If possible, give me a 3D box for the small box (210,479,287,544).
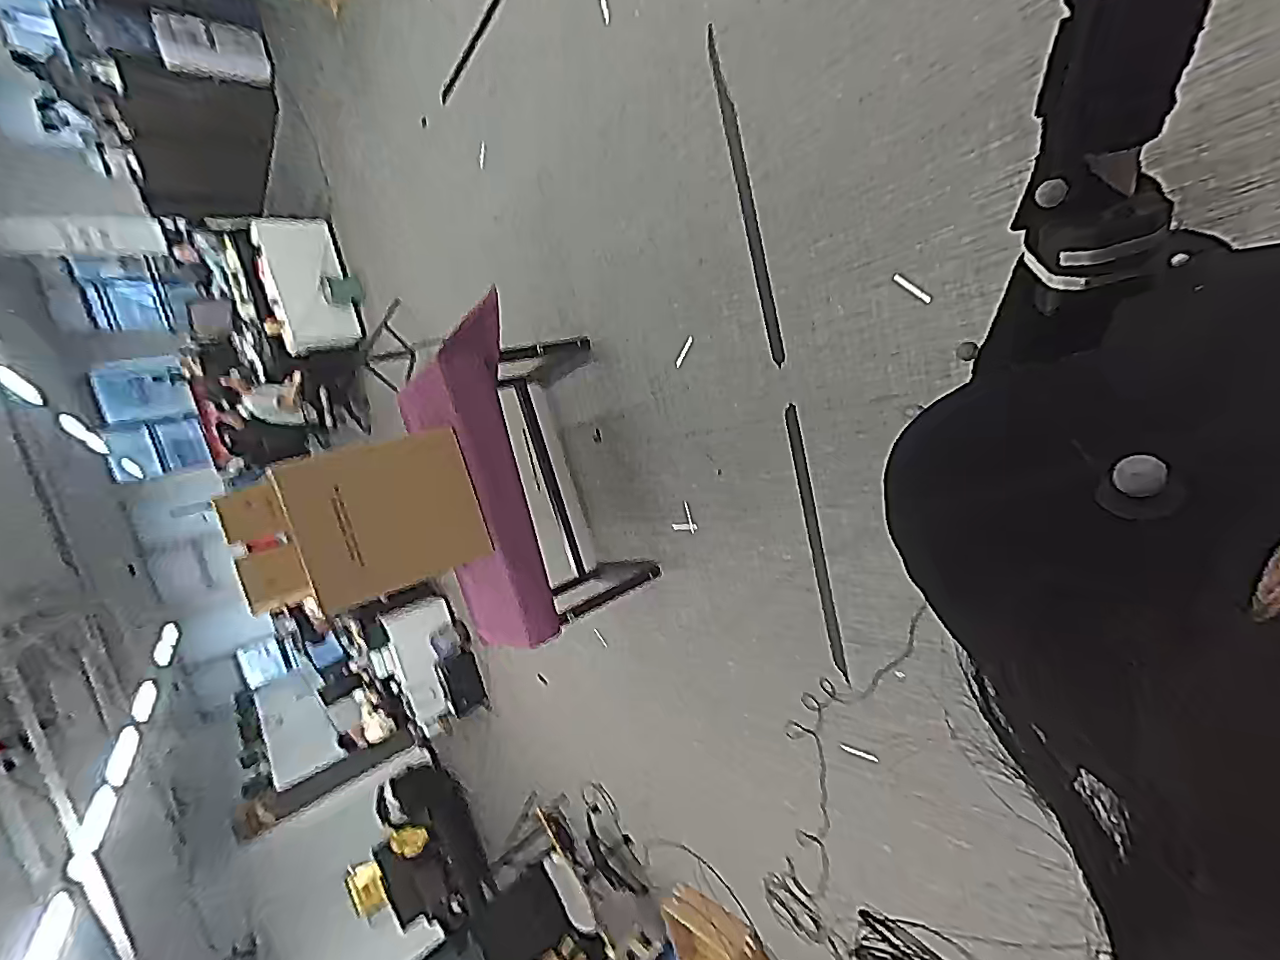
[{"bbox_3d":[-1.297,0.104,1.797,0.179,0.176,0.168,-15,94,52],"label":"small box"}]

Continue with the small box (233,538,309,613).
[{"bbox_3d":[-1.221,0.316,1.799,0.168,0.176,0.179,-36,77,50],"label":"small box"}]
